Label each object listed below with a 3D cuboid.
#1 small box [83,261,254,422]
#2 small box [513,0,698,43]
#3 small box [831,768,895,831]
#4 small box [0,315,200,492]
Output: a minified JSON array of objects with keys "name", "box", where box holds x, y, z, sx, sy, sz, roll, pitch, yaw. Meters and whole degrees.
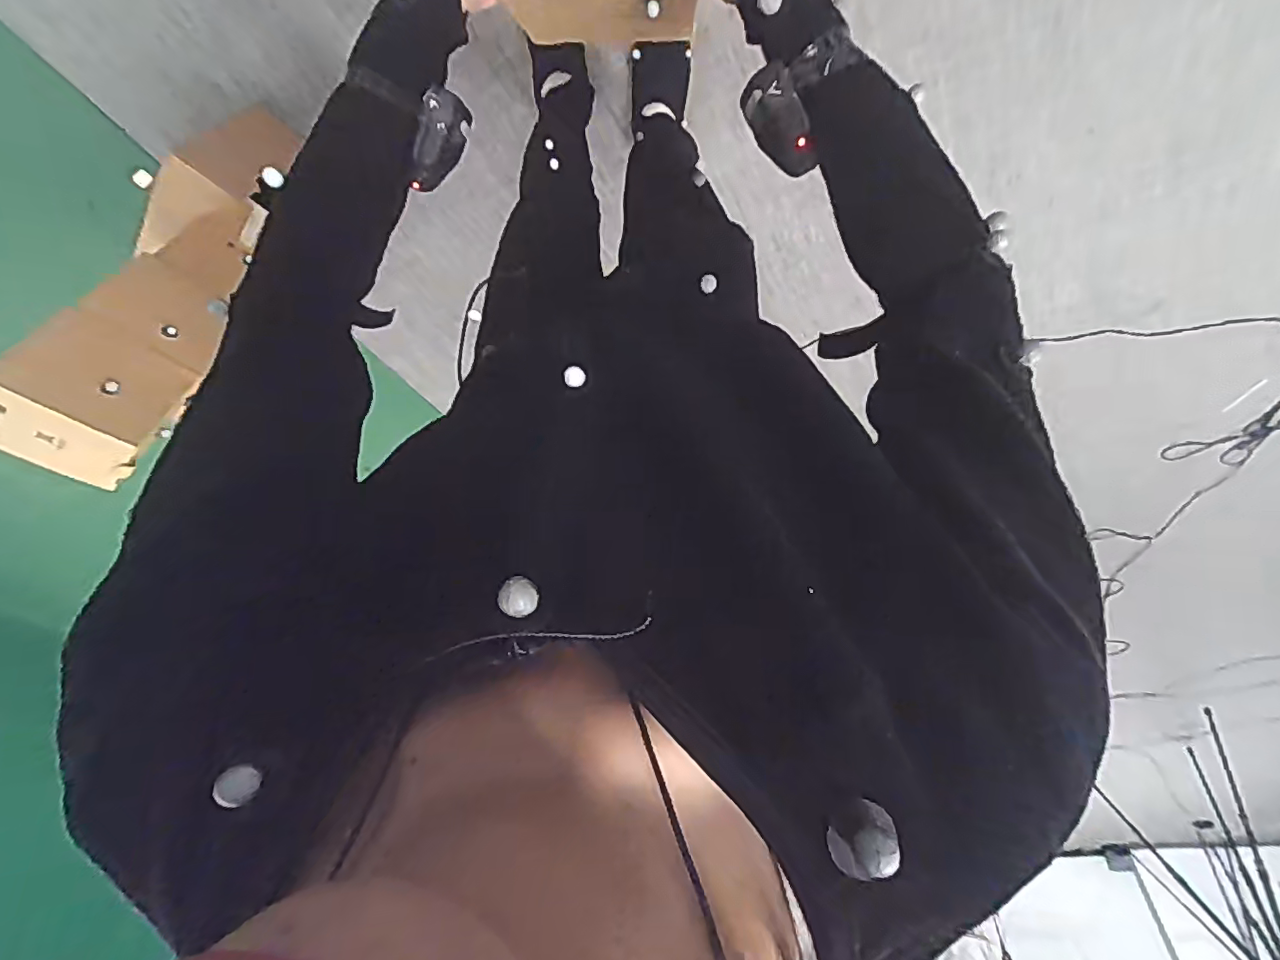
[{"name":"small box","box":[-0.825,-0.239,0.942,0.168,0.176,0.179,-28,131,30]},{"name":"small box","box":[-0.033,-0.502,0.467,0.179,0.176,0.168,0,116,2]},{"name":"small box","box":[0.812,1.167,1.980,0.168,0.176,0.179,-19,133,23]},{"name":"small box","box":[-0.835,-0.116,0.834,0.168,0.176,0.179,-29,132,30]}]
